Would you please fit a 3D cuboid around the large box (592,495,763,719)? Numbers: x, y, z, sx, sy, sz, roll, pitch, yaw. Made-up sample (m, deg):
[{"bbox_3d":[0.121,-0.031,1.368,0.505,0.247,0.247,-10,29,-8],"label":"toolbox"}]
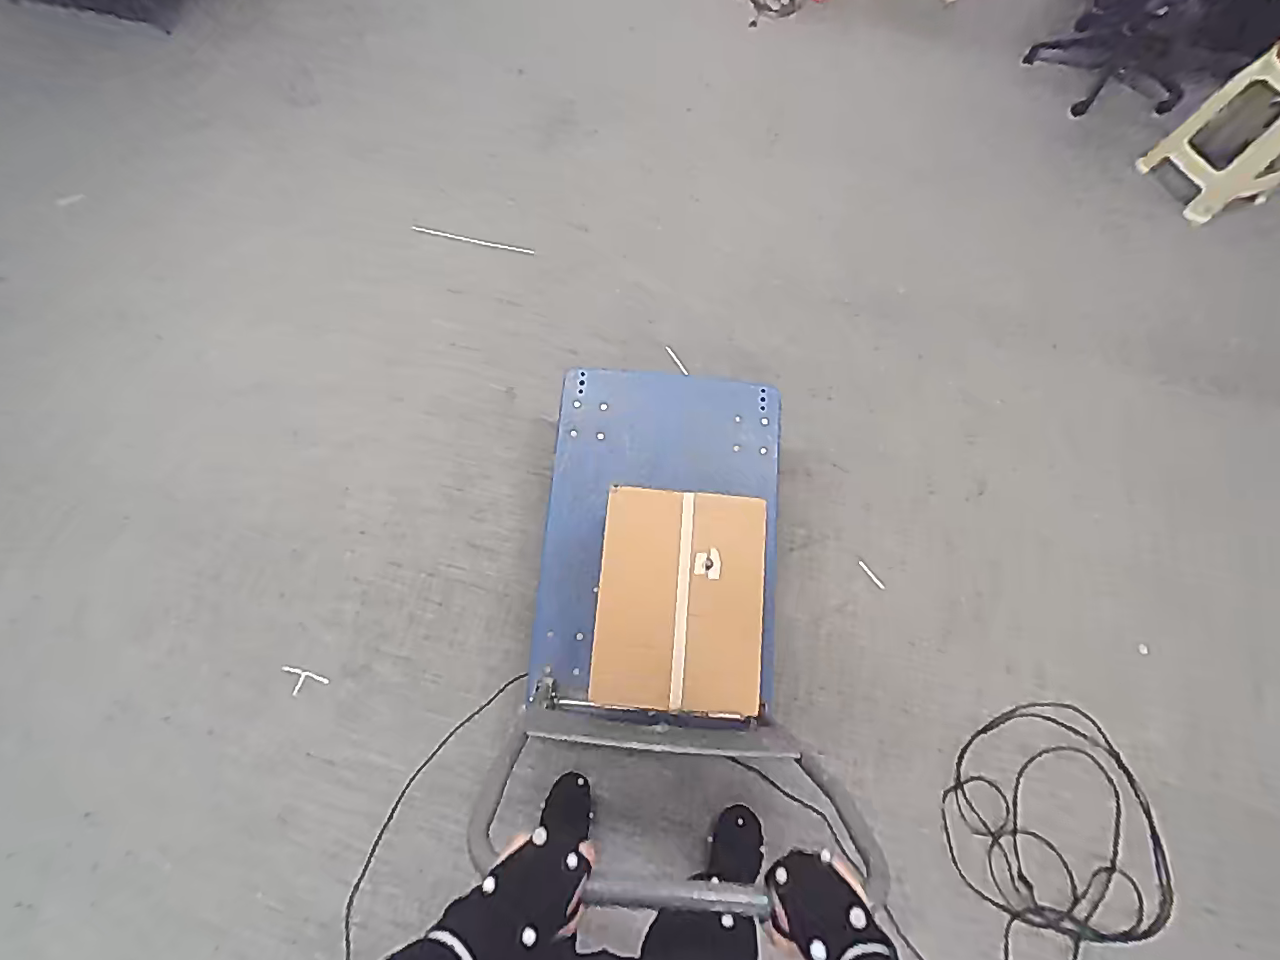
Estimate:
[{"bbox_3d":[0.073,0.267,1.165,0.320,0.320,0.408,5,77,-2],"label":"large box"}]
